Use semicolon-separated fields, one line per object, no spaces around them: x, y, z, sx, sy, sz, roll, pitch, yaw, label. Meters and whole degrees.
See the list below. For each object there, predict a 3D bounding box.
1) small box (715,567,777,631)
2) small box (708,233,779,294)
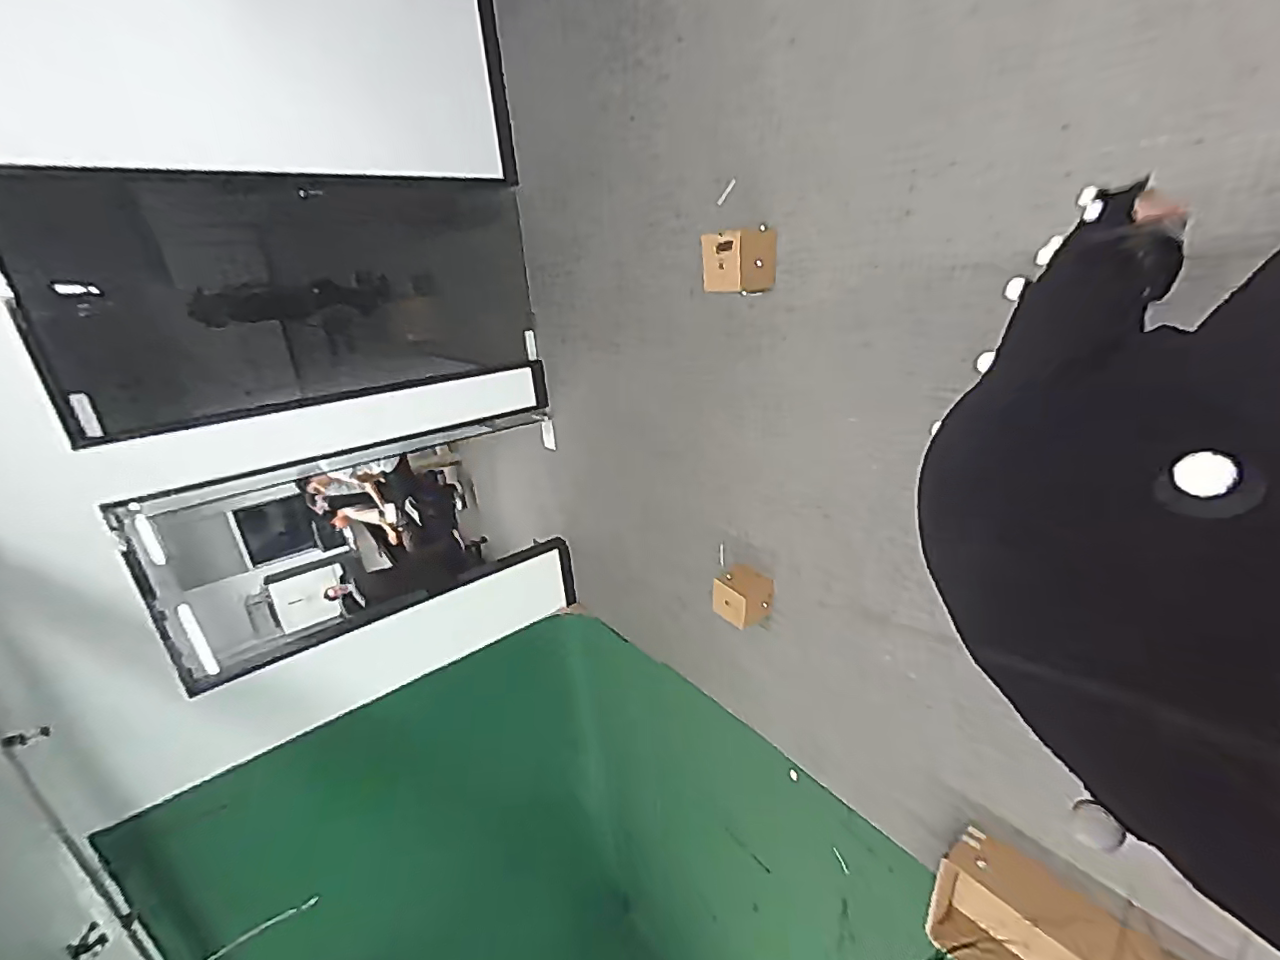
0.432;0.478;2.213;0.179;0.176;0.168;28;128;45;small box
0.338;-0.708;1.766;0.168;0.176;0.179;23;125;48;small box
